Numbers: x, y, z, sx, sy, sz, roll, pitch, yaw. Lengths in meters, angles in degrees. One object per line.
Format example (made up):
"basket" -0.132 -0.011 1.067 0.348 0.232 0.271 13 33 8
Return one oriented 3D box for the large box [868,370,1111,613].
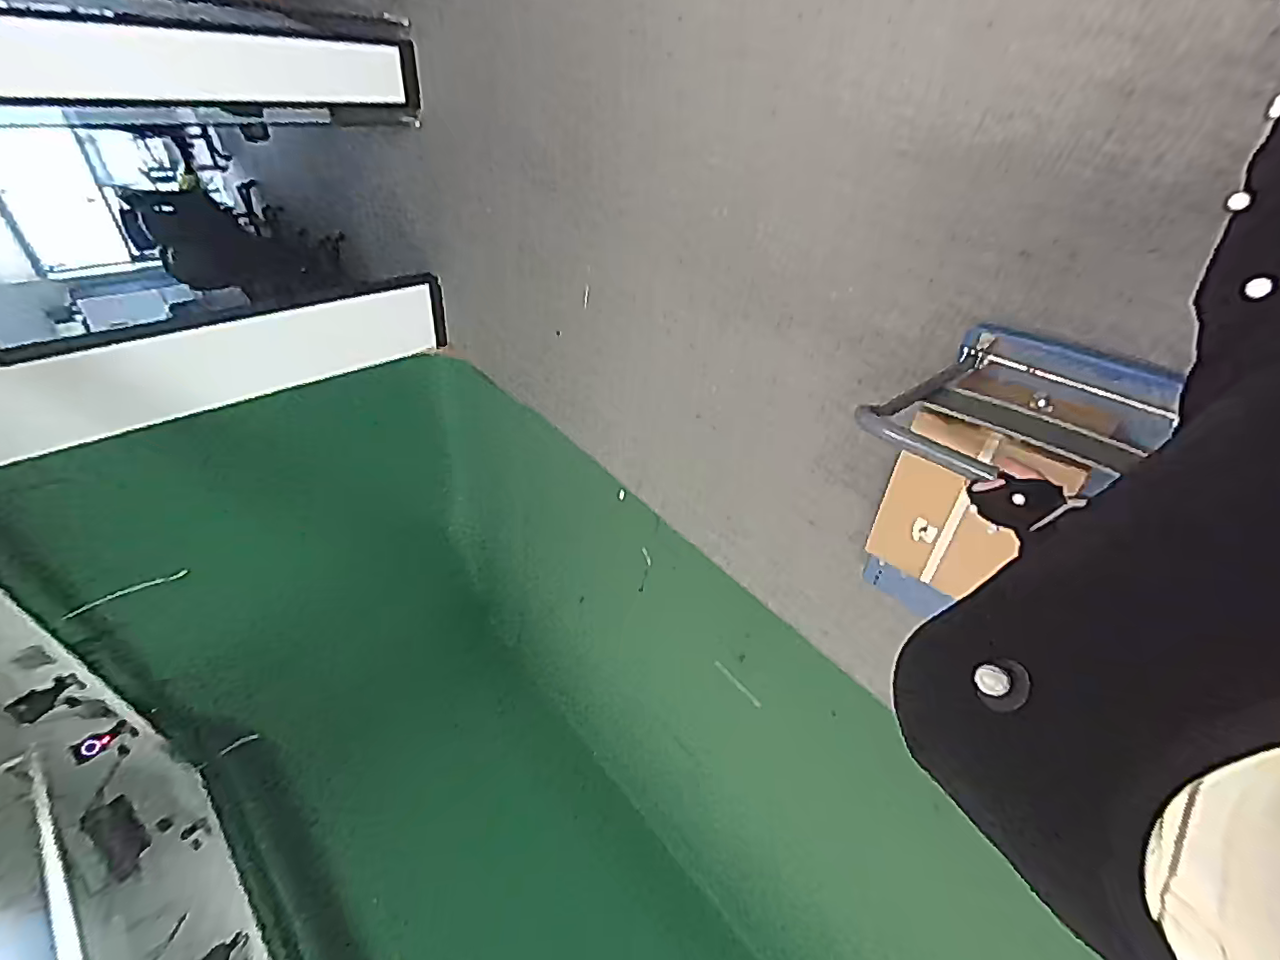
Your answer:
"large box" 0.788 0.011 1.249 0.320 0.320 0.408 32 135 34
